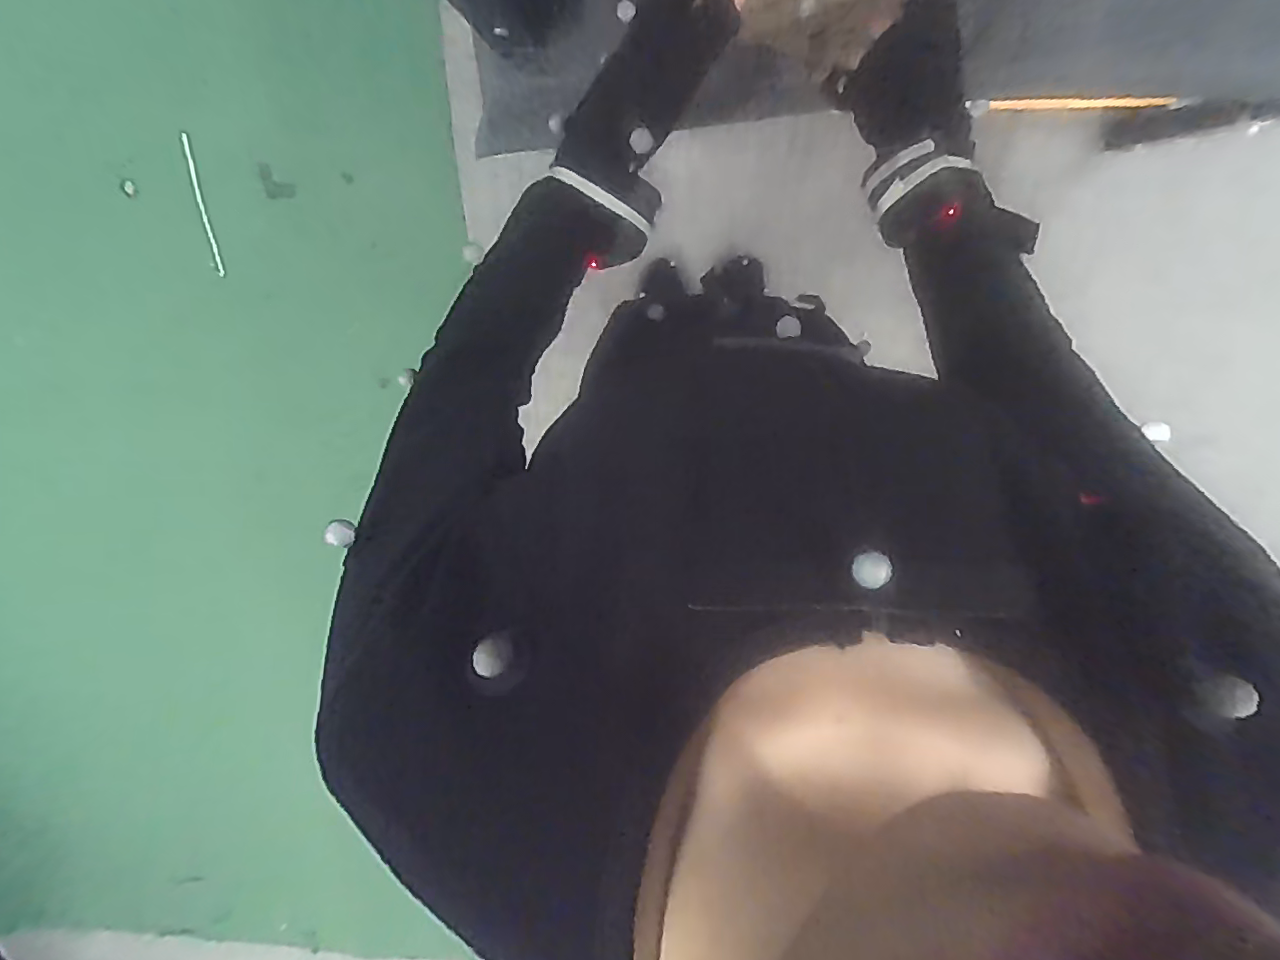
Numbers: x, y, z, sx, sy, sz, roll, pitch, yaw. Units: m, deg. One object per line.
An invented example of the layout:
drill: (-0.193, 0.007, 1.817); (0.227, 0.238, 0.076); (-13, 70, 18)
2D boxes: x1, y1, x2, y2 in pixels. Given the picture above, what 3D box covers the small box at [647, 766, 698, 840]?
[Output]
small box: (0.117, 1.156, 1.945); (0.168, 0.176, 0.179); (-5, 113, 7)
